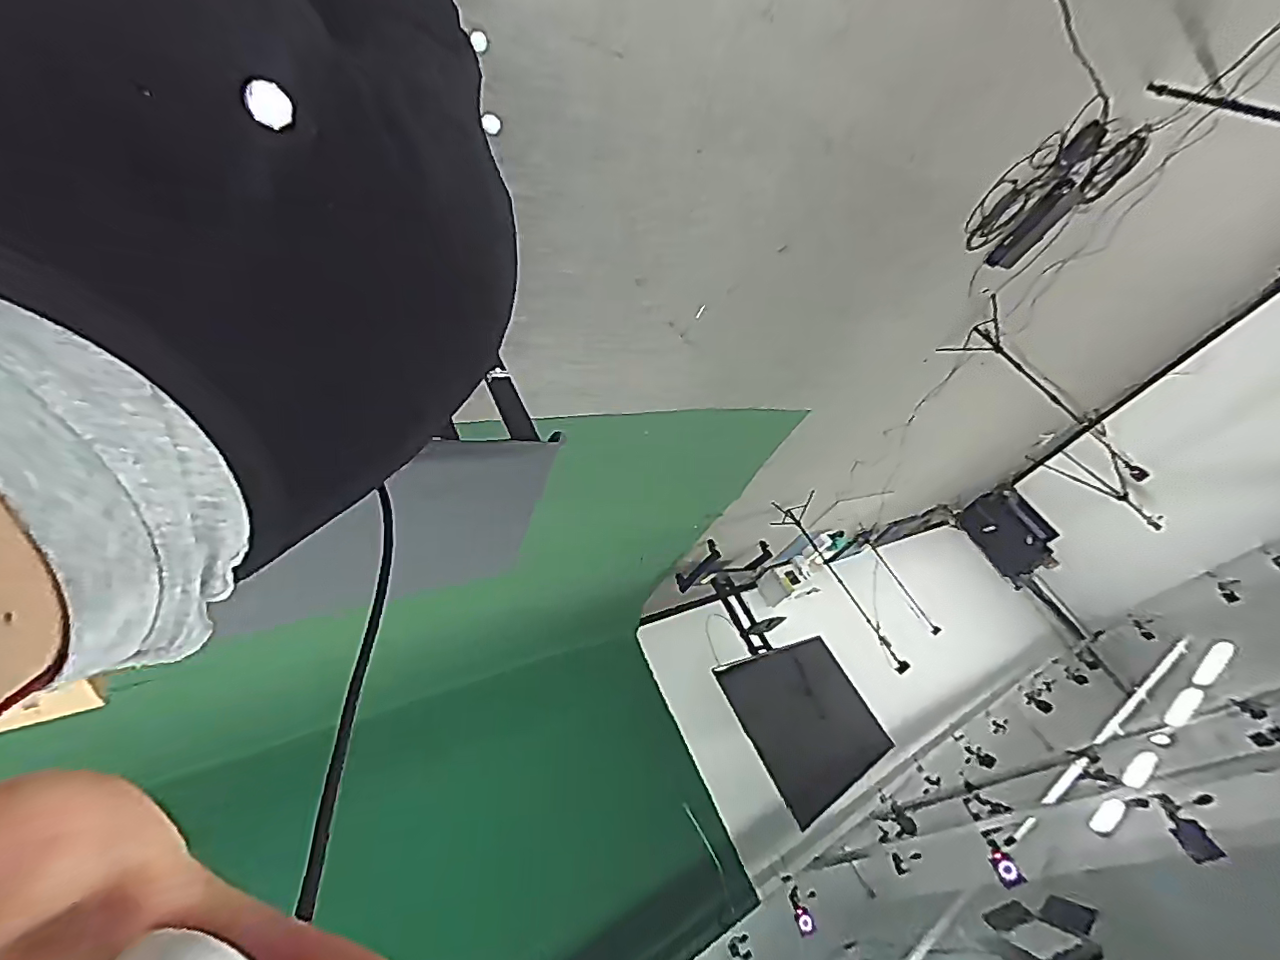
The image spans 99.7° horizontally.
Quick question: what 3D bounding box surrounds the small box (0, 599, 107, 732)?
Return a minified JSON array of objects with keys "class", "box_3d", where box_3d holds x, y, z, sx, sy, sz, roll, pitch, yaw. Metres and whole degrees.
[{"class":"small box","box_3d":[-1.126,0.337,1.004,0.168,0.176,0.179,-8,146,-36]}]
